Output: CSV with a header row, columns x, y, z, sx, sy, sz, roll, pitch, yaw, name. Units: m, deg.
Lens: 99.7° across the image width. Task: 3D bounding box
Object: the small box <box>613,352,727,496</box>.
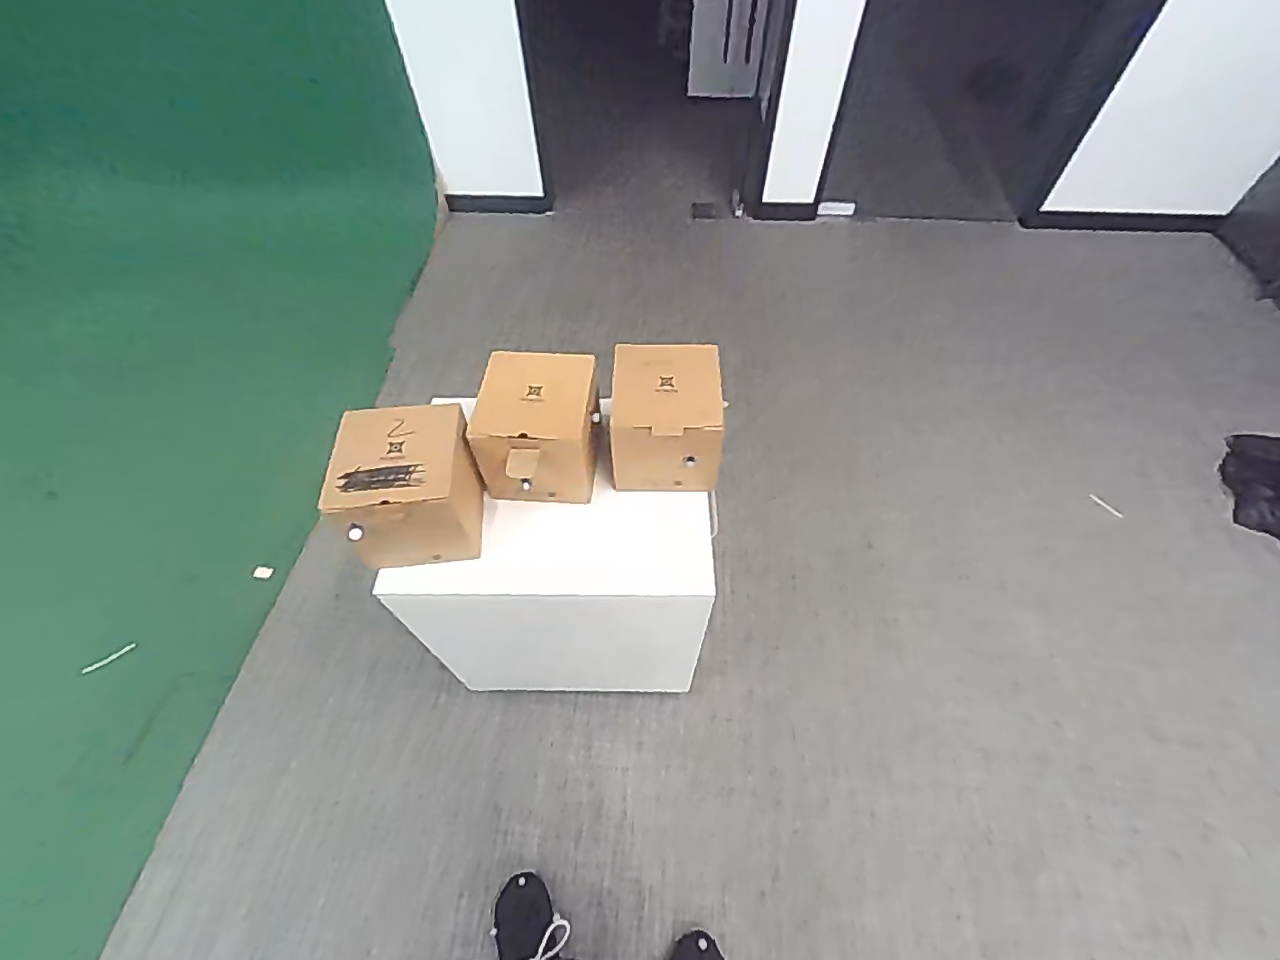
x,y,z,sx,sy,sz,roll,pitch,yaw,name
0.045,-0.087,0.877,0.168,0.176,0.179,1,54,0,small box
